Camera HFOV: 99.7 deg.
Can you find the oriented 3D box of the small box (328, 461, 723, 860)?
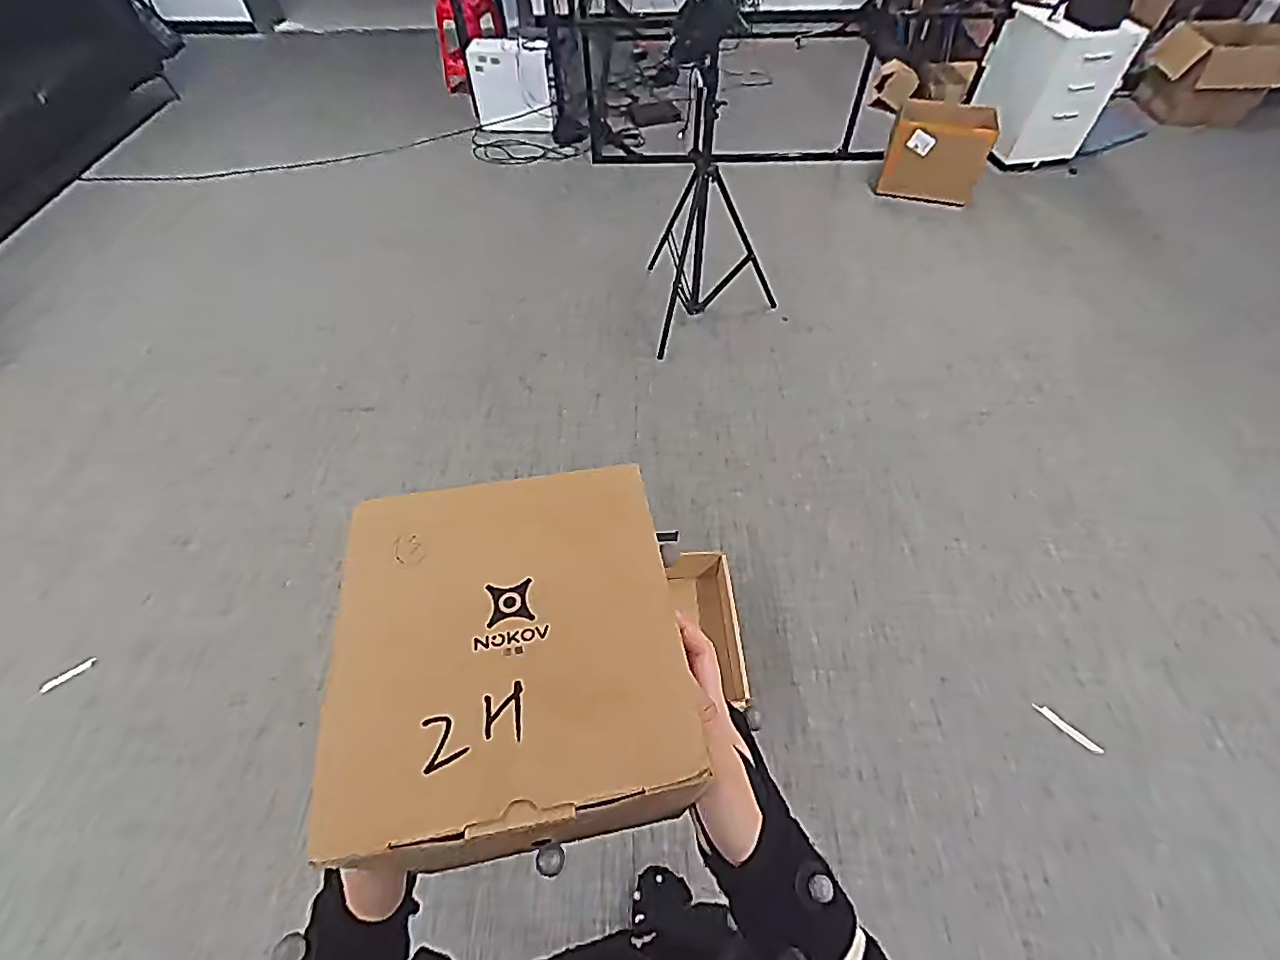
[{"bbox_3d":[-0.061,0.113,0.336,0.168,0.176,0.179,-8,54,-8],"label":"small box"}]
